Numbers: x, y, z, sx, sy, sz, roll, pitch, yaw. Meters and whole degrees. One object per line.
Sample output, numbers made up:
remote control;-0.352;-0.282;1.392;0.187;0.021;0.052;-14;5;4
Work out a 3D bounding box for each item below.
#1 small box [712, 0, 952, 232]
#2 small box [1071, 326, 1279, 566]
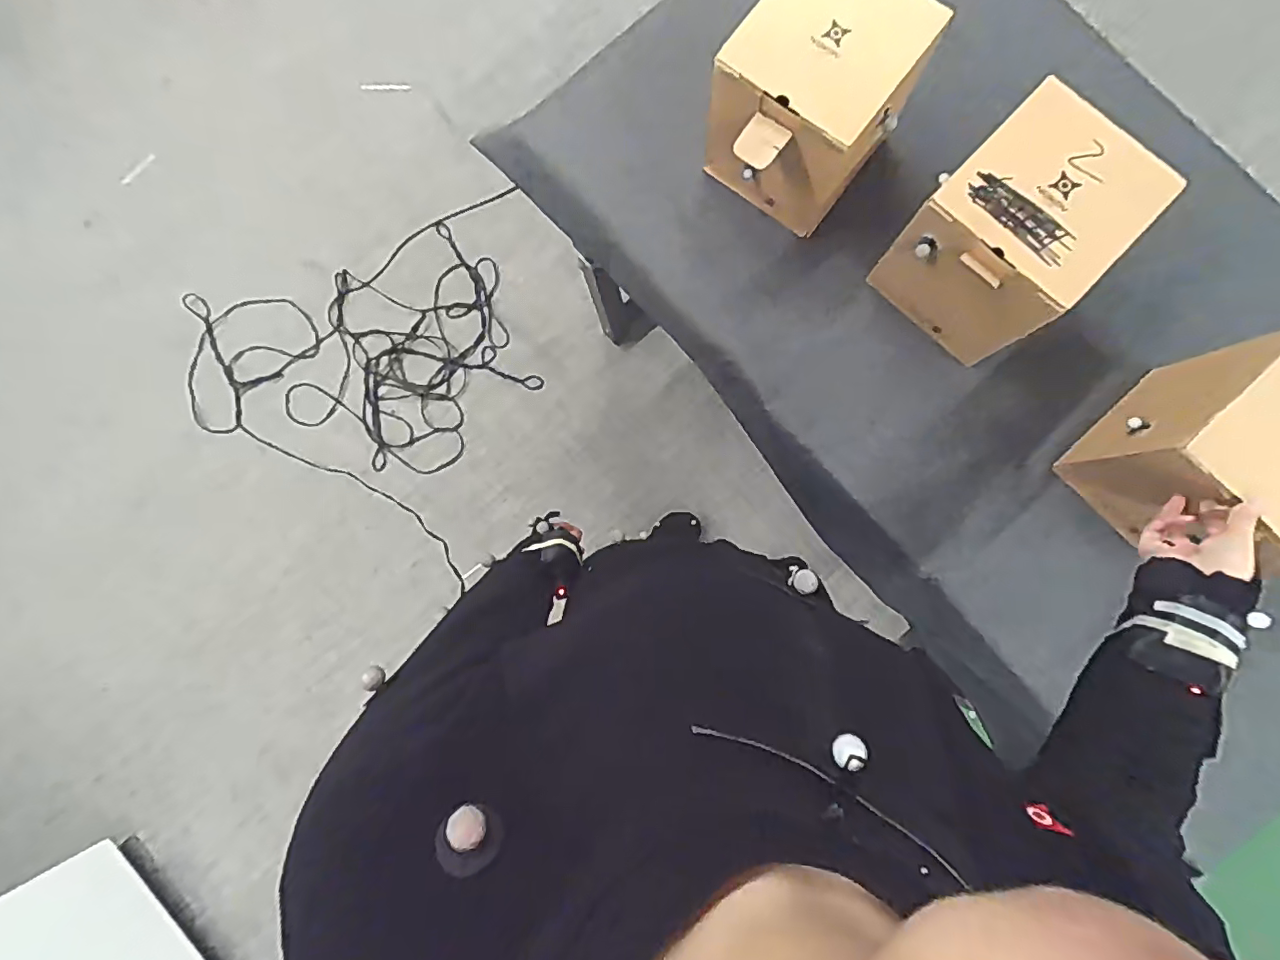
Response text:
small box;0.195;-0.429;0.612;0.168;0.176;0.179;37;88;5
small box;0.603;-0.023;0.556;0.179;0.176;0.168;-44;85;-3
